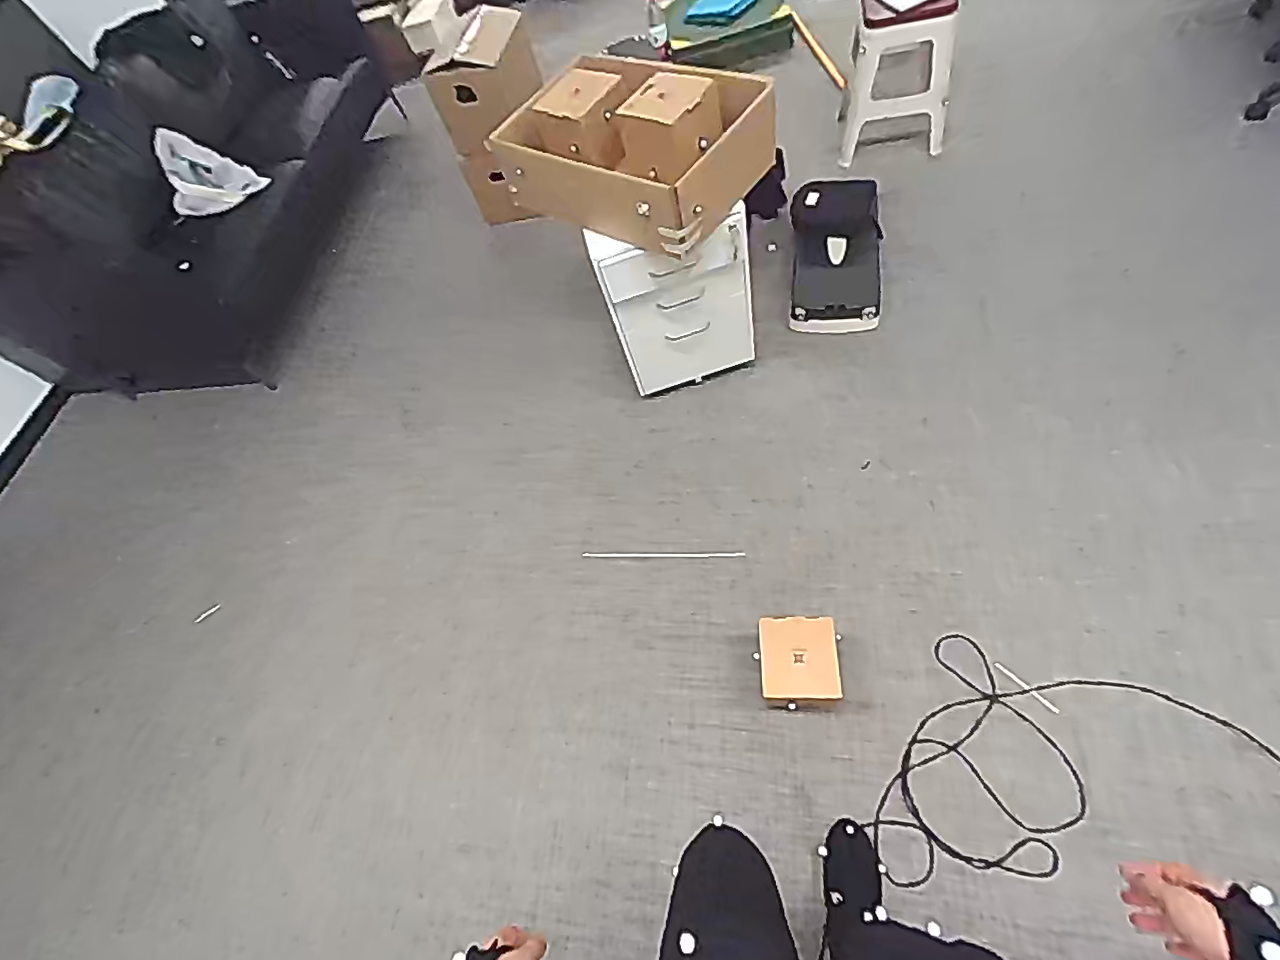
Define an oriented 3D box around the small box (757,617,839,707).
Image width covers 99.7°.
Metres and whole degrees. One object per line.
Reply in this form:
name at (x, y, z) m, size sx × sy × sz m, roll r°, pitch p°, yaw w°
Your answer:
small box at (0.369, 0.431, 1.270) m, size 0.168 × 0.176 × 0.179 m, roll -5°, pitch 59°, yaw 13°
